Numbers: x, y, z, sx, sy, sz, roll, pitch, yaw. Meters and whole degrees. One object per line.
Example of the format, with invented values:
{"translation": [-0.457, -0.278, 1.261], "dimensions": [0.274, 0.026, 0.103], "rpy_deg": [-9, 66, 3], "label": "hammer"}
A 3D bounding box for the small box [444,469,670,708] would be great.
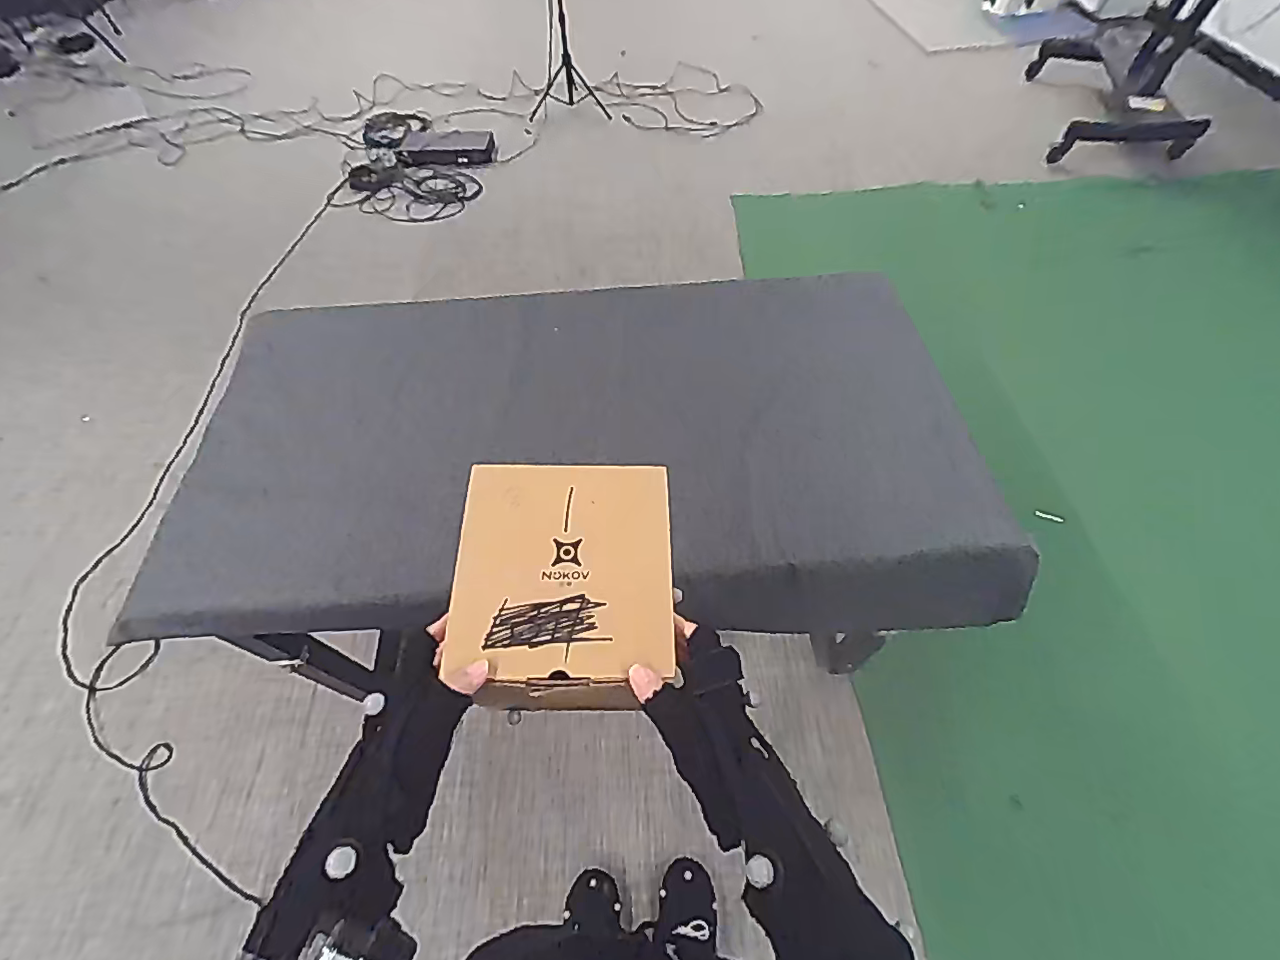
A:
{"translation": [-0.060, 0.107, 0.493], "dimensions": [0.168, 0.176, 0.179], "rpy_deg": [1, 60, -2], "label": "small box"}
